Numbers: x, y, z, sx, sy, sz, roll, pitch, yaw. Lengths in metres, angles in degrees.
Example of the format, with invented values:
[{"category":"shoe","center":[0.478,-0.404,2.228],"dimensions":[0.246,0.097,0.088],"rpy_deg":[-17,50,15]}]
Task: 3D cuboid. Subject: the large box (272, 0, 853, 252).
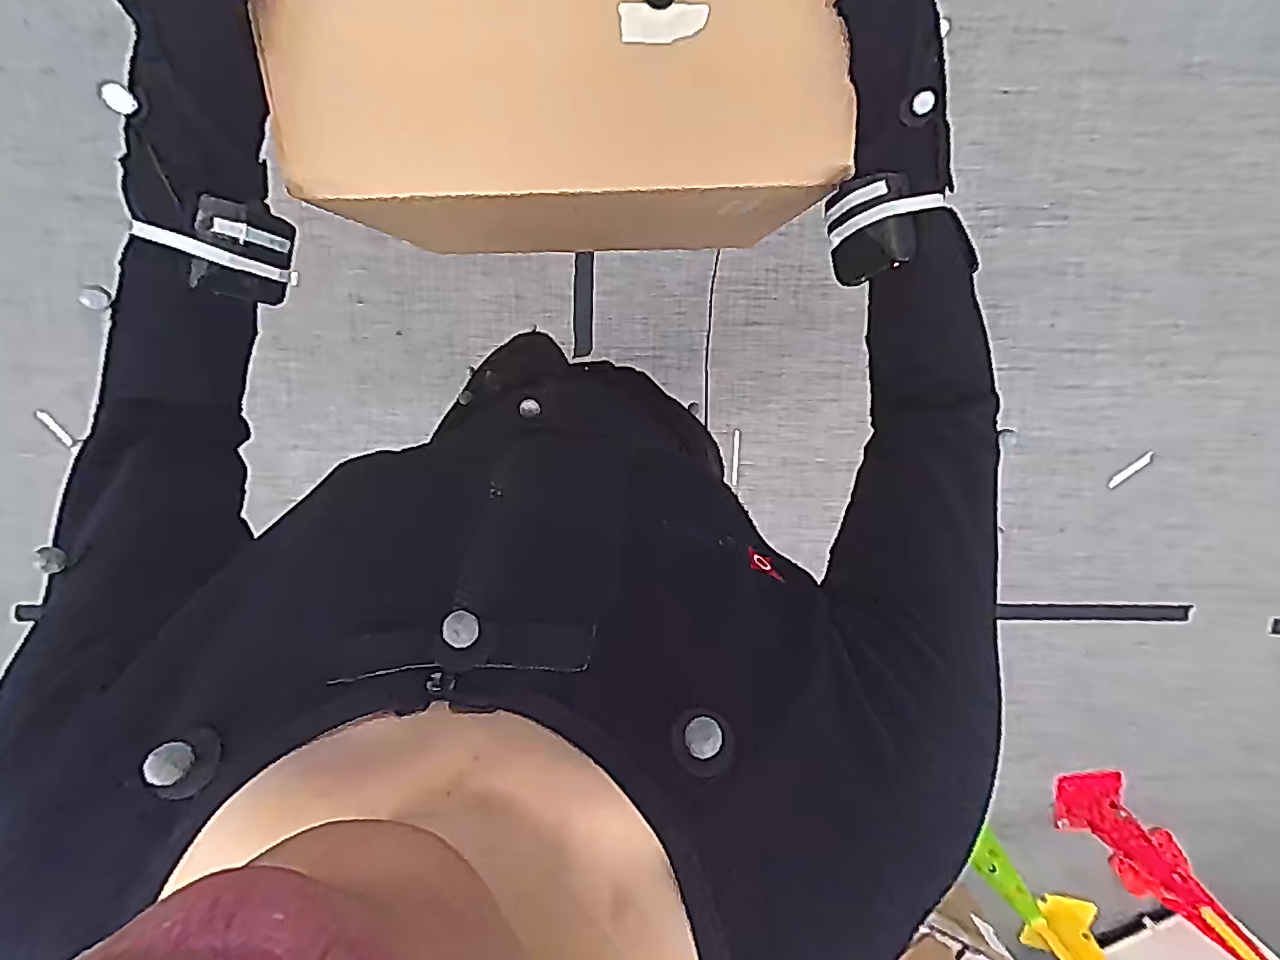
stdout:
[{"category":"large box","center":[-0.057,-0.406,0.501],"dimensions":[0.408,0.320,0.320],"rpy_deg":[-2,106,-1]}]
